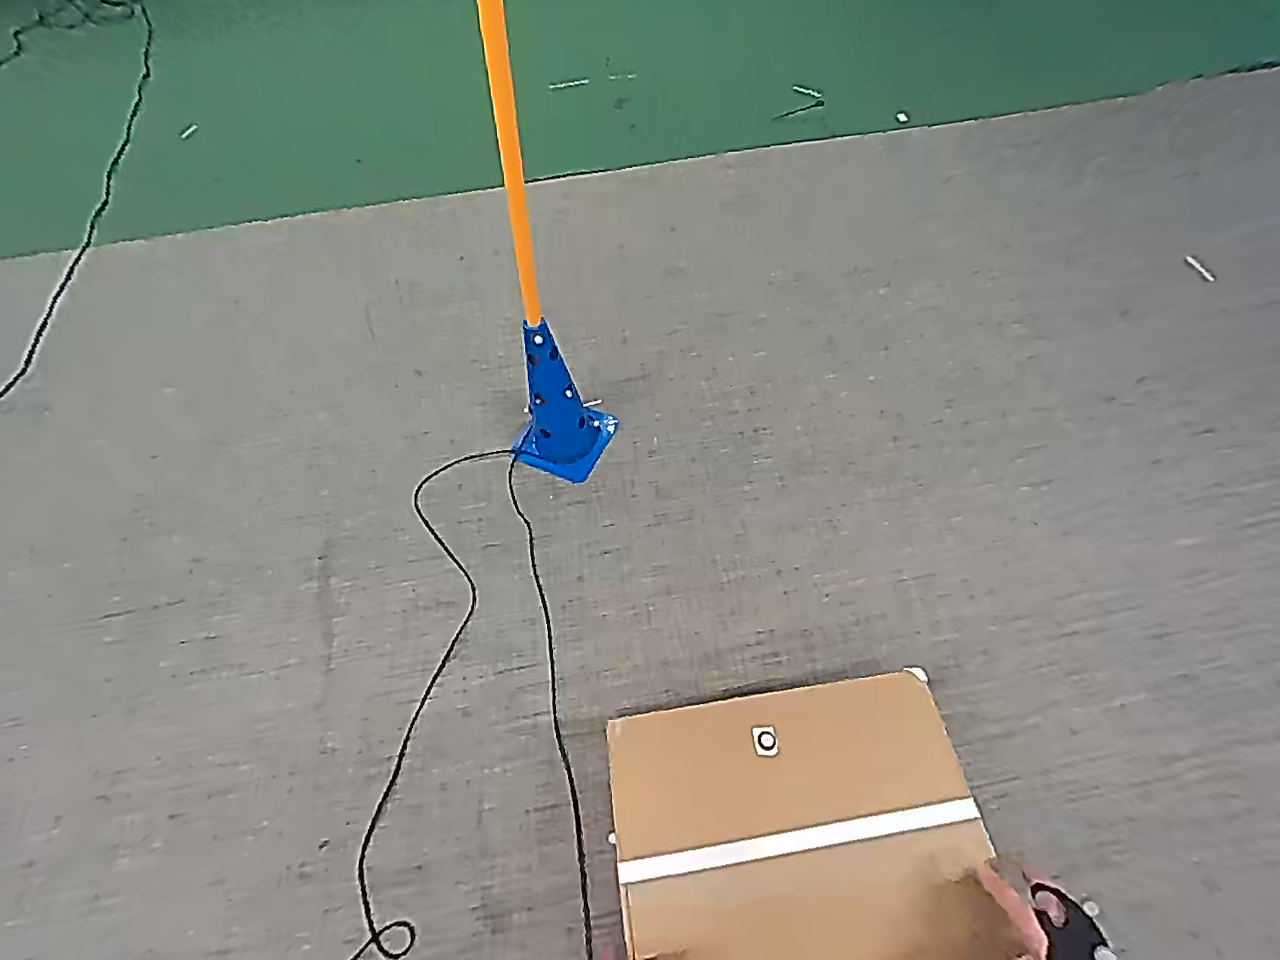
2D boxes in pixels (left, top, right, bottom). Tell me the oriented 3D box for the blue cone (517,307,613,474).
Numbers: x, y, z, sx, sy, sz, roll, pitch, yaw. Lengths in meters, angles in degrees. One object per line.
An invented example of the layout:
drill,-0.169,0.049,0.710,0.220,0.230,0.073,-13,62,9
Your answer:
blue cone,-0.178,-0.194,1.107,0.192,0.380,0.193,19,60,13
